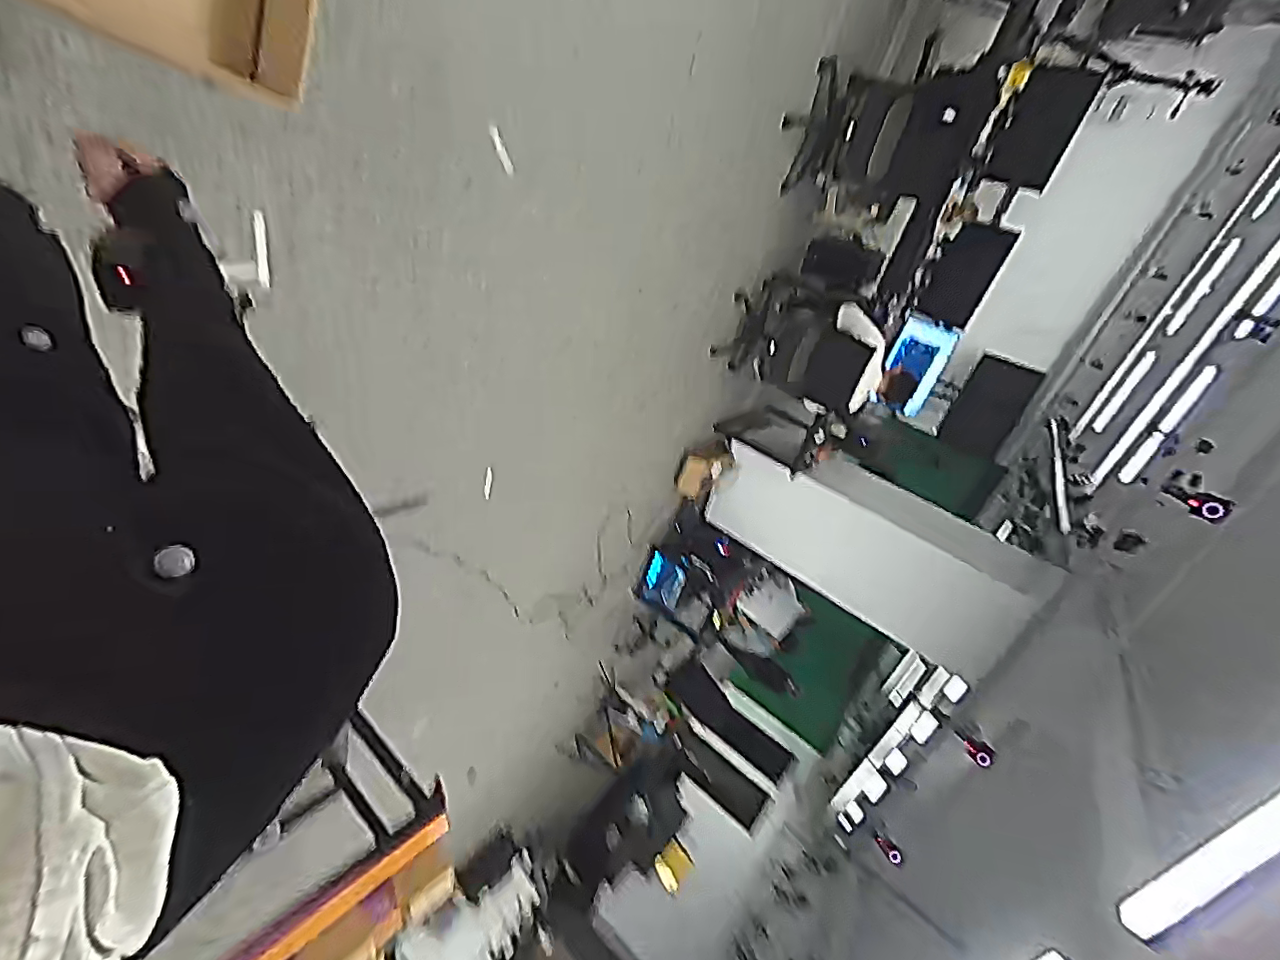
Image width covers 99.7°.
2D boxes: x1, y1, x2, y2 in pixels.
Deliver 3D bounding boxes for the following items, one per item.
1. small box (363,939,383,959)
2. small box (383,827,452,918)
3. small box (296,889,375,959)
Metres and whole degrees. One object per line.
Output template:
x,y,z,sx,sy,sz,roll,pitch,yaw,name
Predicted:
-1.045,1.718,1.925,0.168,0.176,0.179,-20,134,-52,small box
-0.826,1.444,1.997,0.179,0.176,0.168,-18,135,-50,small box
-0.997,1.503,1.764,0.179,0.176,0.168,-21,137,-51,small box
